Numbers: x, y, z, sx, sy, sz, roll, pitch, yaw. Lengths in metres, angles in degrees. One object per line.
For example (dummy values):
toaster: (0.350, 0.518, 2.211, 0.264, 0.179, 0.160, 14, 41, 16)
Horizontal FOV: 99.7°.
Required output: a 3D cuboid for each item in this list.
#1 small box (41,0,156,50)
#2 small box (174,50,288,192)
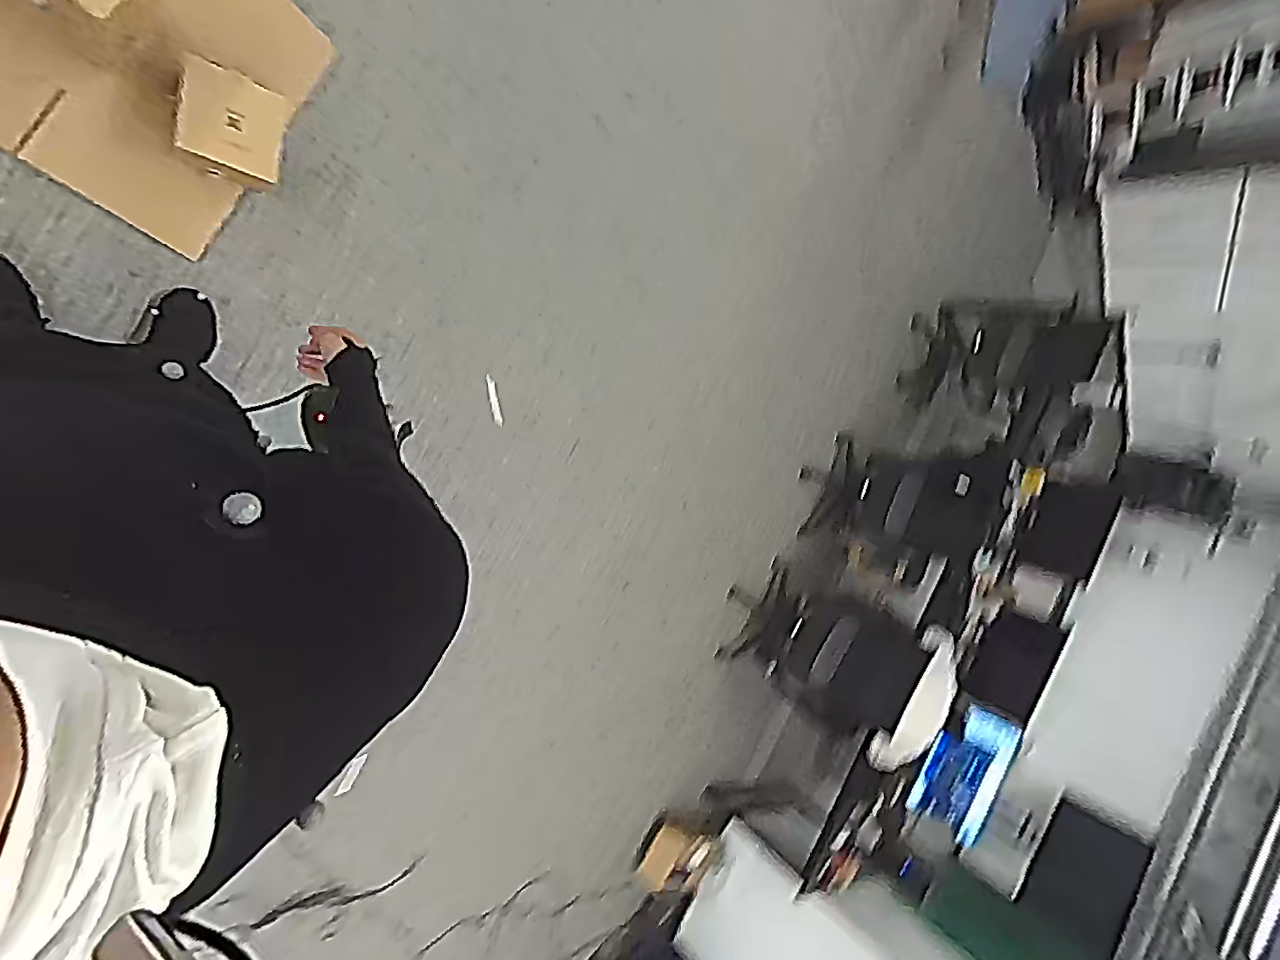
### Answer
small box: (-0.885, -0.837, 0.849, 0.168, 0.176, 0.179, 37, 80, -43)
small box: (-0.860, -0.736, 1.134, 0.168, 0.176, 0.179, 8, 99, -42)
